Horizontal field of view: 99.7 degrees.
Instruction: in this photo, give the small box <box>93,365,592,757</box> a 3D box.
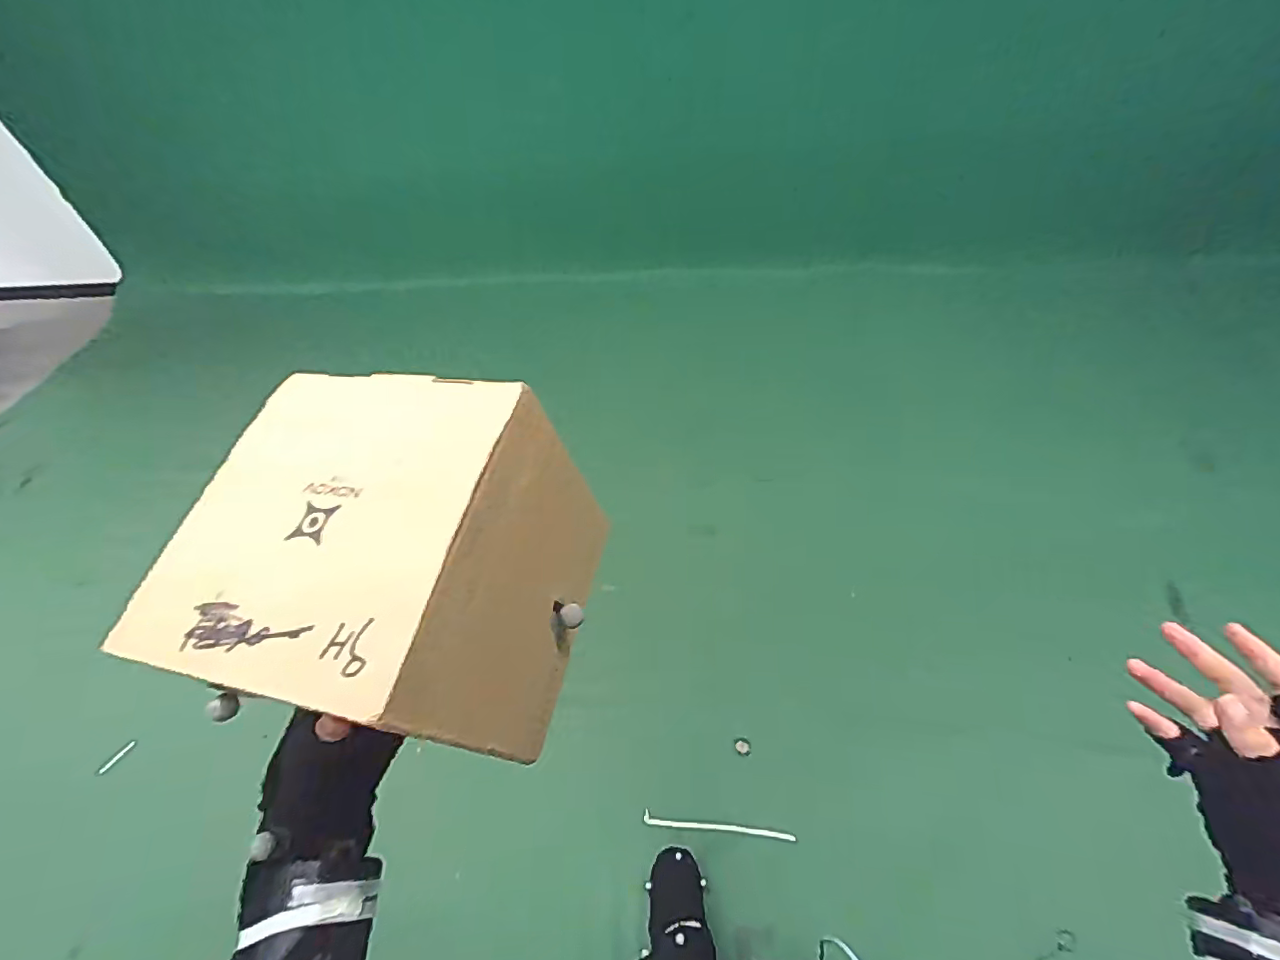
[{"bbox_3d":[-0.142,0.051,0.333,0.168,0.176,0.179,4,59,19],"label":"small box"}]
